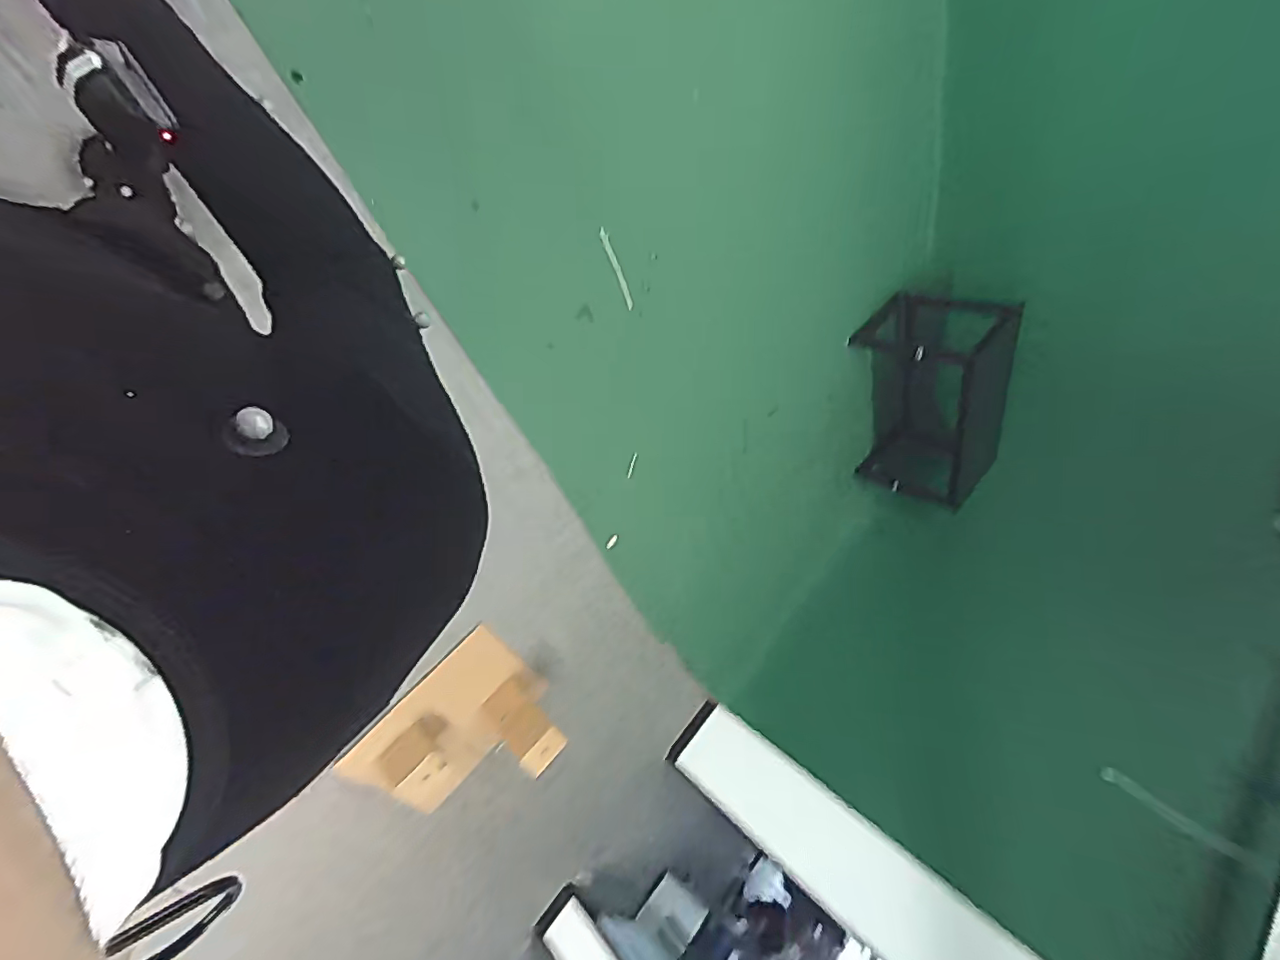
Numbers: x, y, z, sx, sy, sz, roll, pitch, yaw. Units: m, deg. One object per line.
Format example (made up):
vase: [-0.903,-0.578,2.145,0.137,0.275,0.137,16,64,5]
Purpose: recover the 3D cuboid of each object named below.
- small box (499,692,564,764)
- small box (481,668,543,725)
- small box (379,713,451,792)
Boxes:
small box: [-0.451,1.010,2.207,0.179,0.176,0.168,-44,135,-21]
small box: [-0.555,0.948,2.315,0.179,0.176,0.168,-43,136,-21]
small box: [-0.862,1.032,2.051,0.179,0.176,0.168,-42,136,-22]
